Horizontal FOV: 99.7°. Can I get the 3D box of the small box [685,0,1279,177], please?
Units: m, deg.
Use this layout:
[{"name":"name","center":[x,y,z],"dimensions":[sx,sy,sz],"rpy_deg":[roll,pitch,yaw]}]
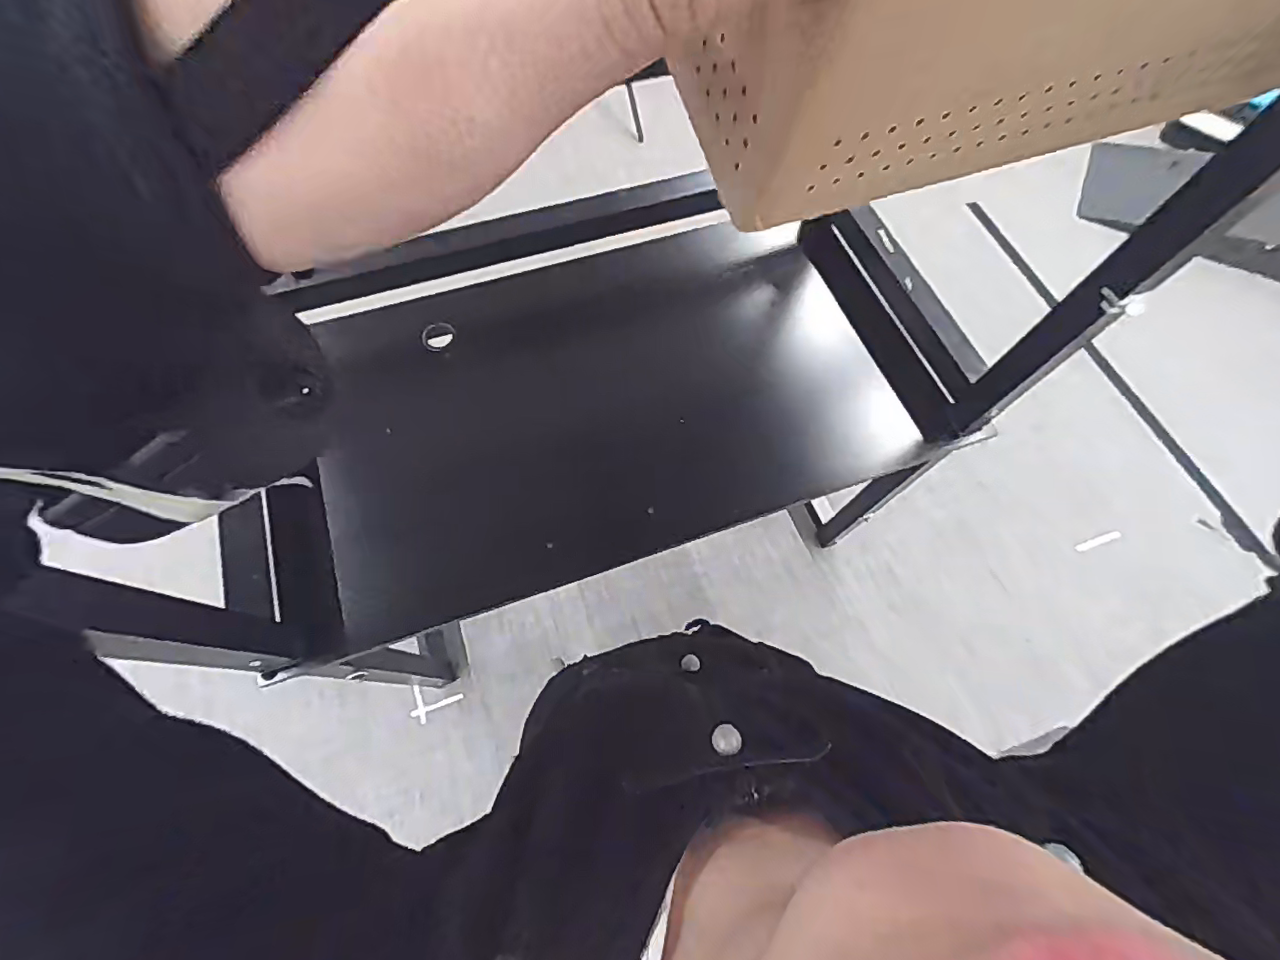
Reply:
[{"name":"small box","center":[0.088,-0.180,0.076],"dimensions":[0.179,0.176,0.168],"rpy_deg":[-19,84,-10]}]
